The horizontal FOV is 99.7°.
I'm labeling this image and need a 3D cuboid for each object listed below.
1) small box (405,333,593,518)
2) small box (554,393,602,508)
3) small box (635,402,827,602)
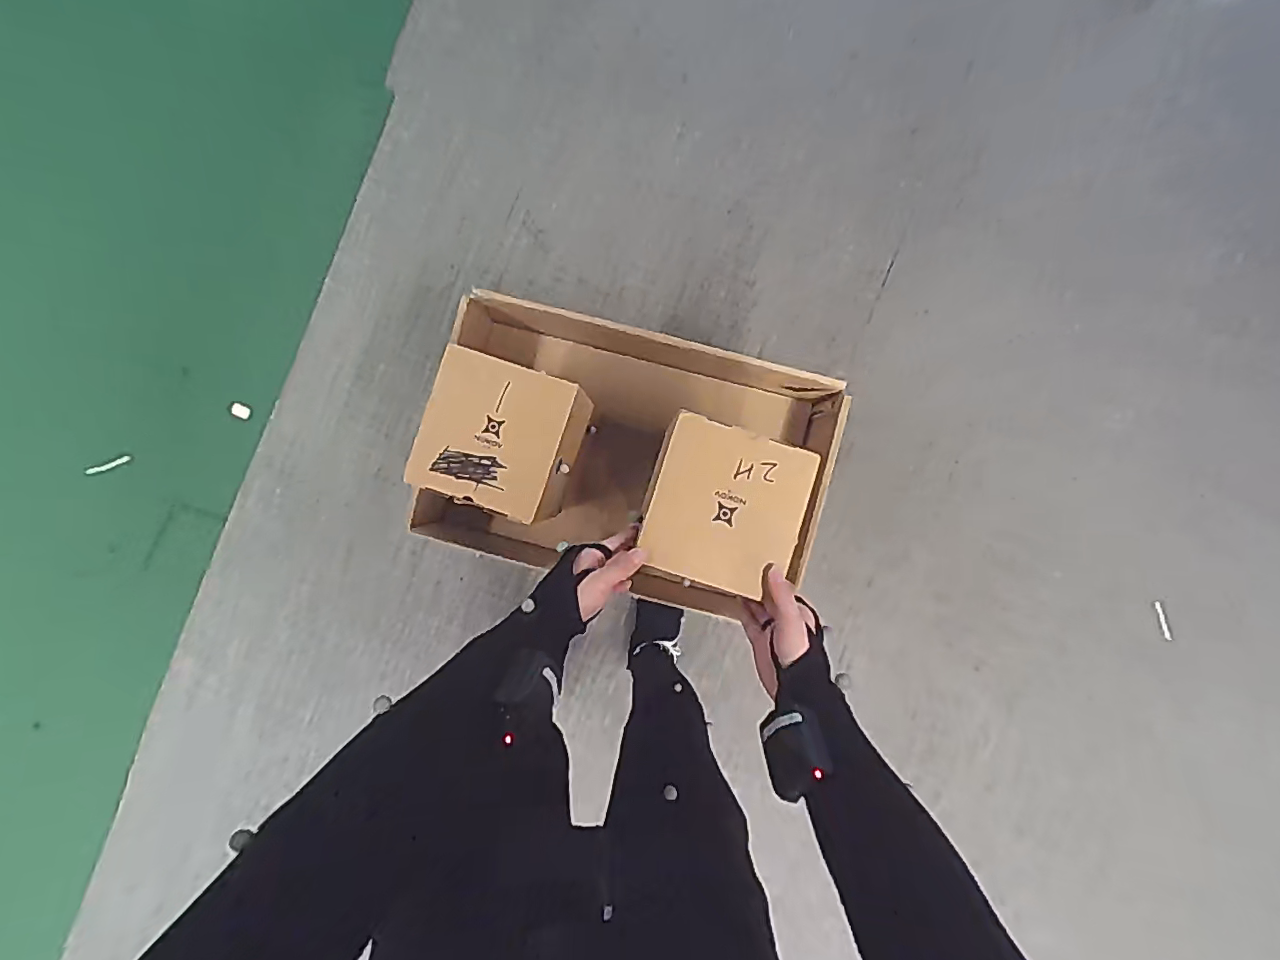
[{"bbox_3d":[-0.168,-0.062,0.703,0.168,0.176,0.179,19,90,1],"label":"small box"},{"bbox_3d":[-0.165,-0.063,0.867,0.168,0.176,0.179,15,90,2],"label":"small box"},{"bbox_3d":[0.097,0.029,0.653,0.168,0.176,0.179,18,84,-1],"label":"small box"}]
